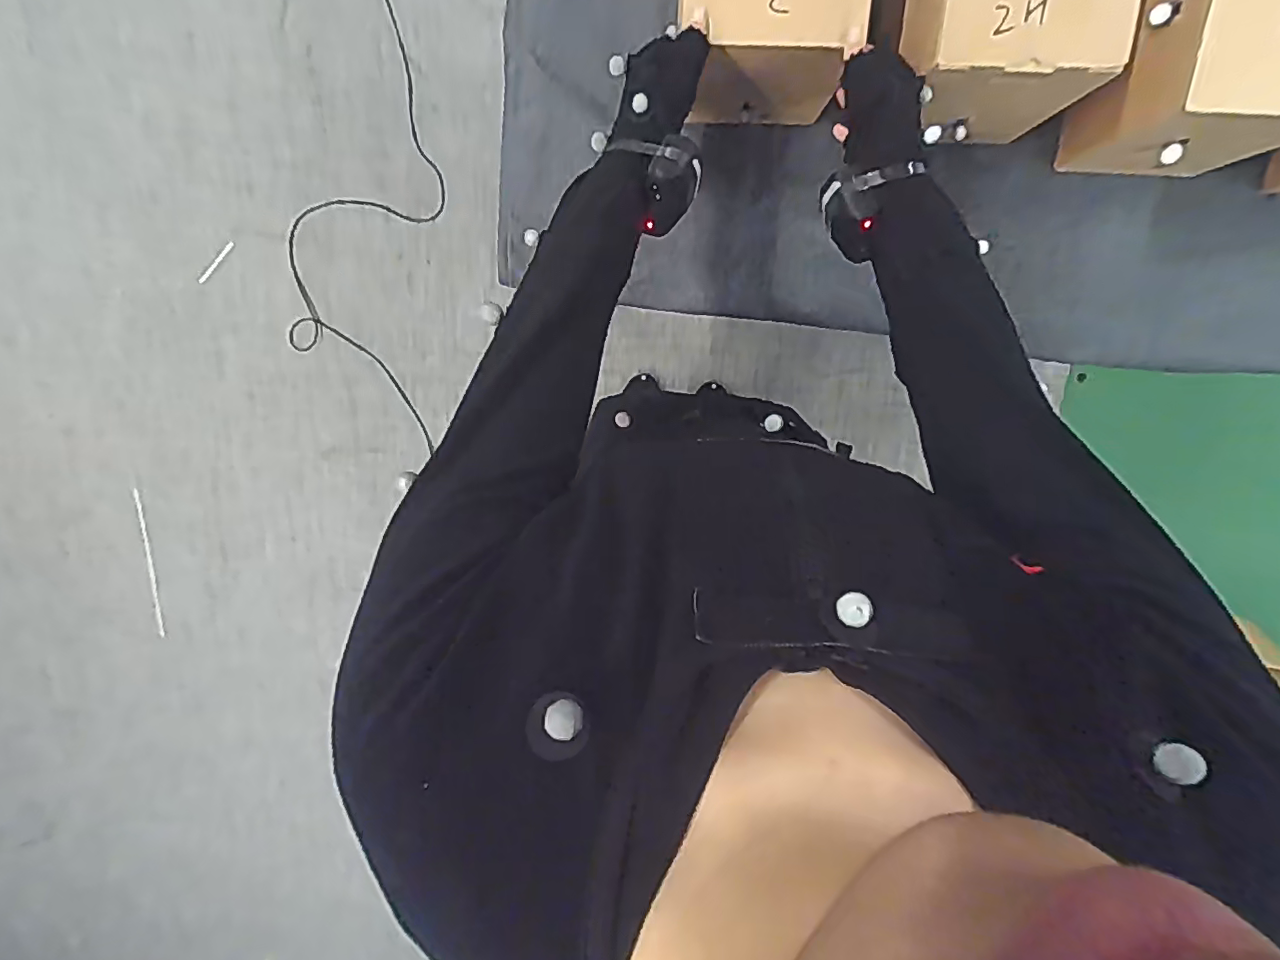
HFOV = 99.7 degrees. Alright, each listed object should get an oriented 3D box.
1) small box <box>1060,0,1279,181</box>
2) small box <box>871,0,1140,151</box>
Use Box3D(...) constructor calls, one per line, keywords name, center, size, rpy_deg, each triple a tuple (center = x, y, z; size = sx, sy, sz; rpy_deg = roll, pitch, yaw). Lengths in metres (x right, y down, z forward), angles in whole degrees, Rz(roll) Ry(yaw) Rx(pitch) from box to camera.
Box3D(name="small box", center=(0.567, -0.416, 0.536), size=(0.168, 0.176, 0.179), rpy_deg=(3, 102, 2))
Box3D(name="small box", center=(0.346, -0.455, 0.533), size=(0.168, 0.176, 0.179), rpy_deg=(3, 102, 2))
